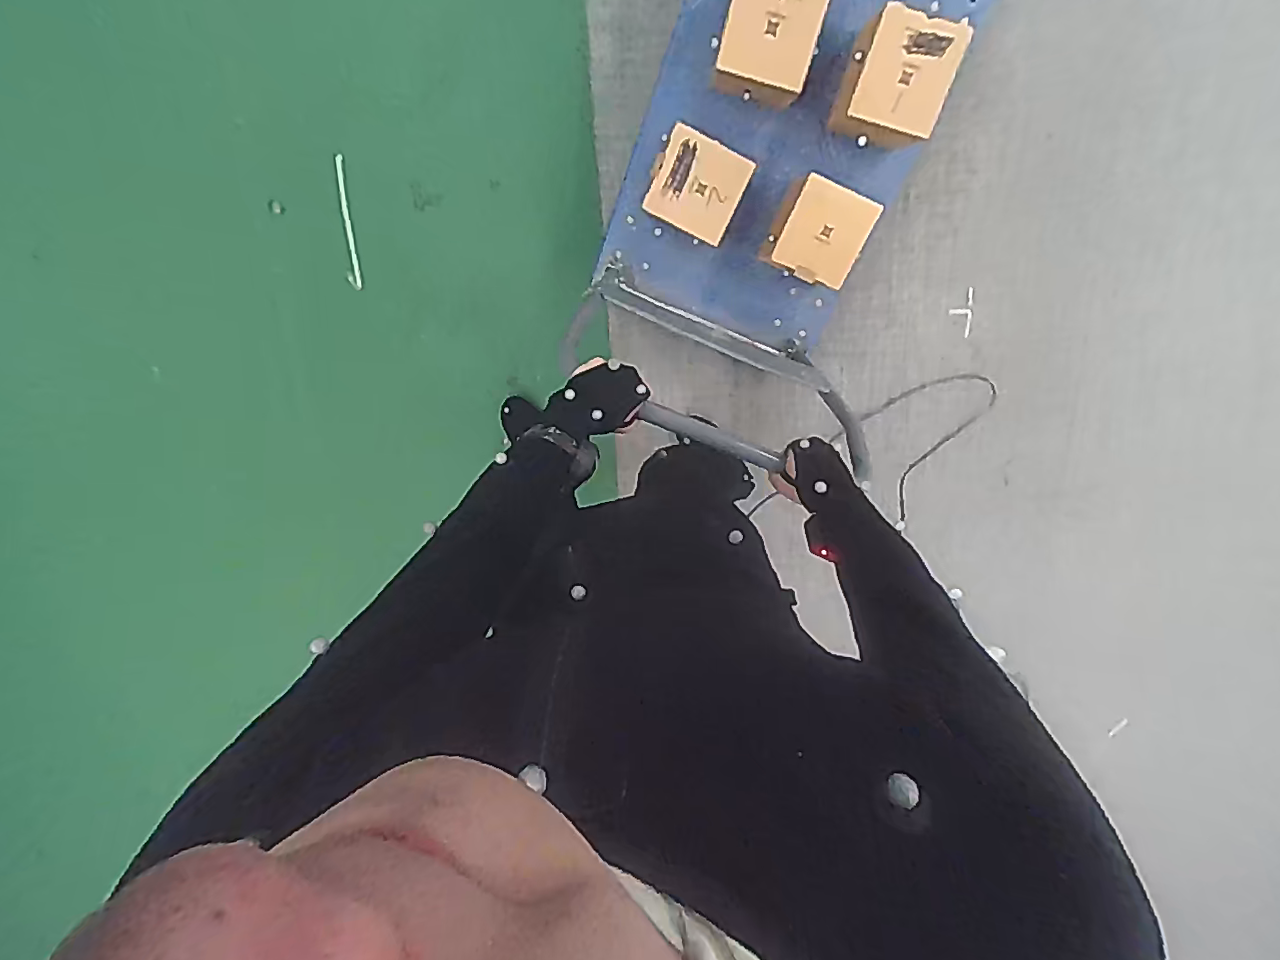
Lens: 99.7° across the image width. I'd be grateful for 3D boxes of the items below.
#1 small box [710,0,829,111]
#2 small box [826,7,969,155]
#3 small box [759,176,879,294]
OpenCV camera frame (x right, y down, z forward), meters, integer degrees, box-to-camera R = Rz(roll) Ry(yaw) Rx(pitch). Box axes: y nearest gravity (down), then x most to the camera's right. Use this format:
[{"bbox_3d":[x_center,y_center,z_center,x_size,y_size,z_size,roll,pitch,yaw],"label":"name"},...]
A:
[{"bbox_3d":[0.238,-0.838,1.035,0.168,0.176,0.179,14,114,-5],"label":"small box"},{"bbox_3d":[0.488,-0.766,1.060,0.168,0.176,0.179,15,115,-4],"label":"small box"},{"bbox_3d":[0.374,-0.529,1.173,0.168,0.176,0.179,22,114,-8],"label":"small box"}]
